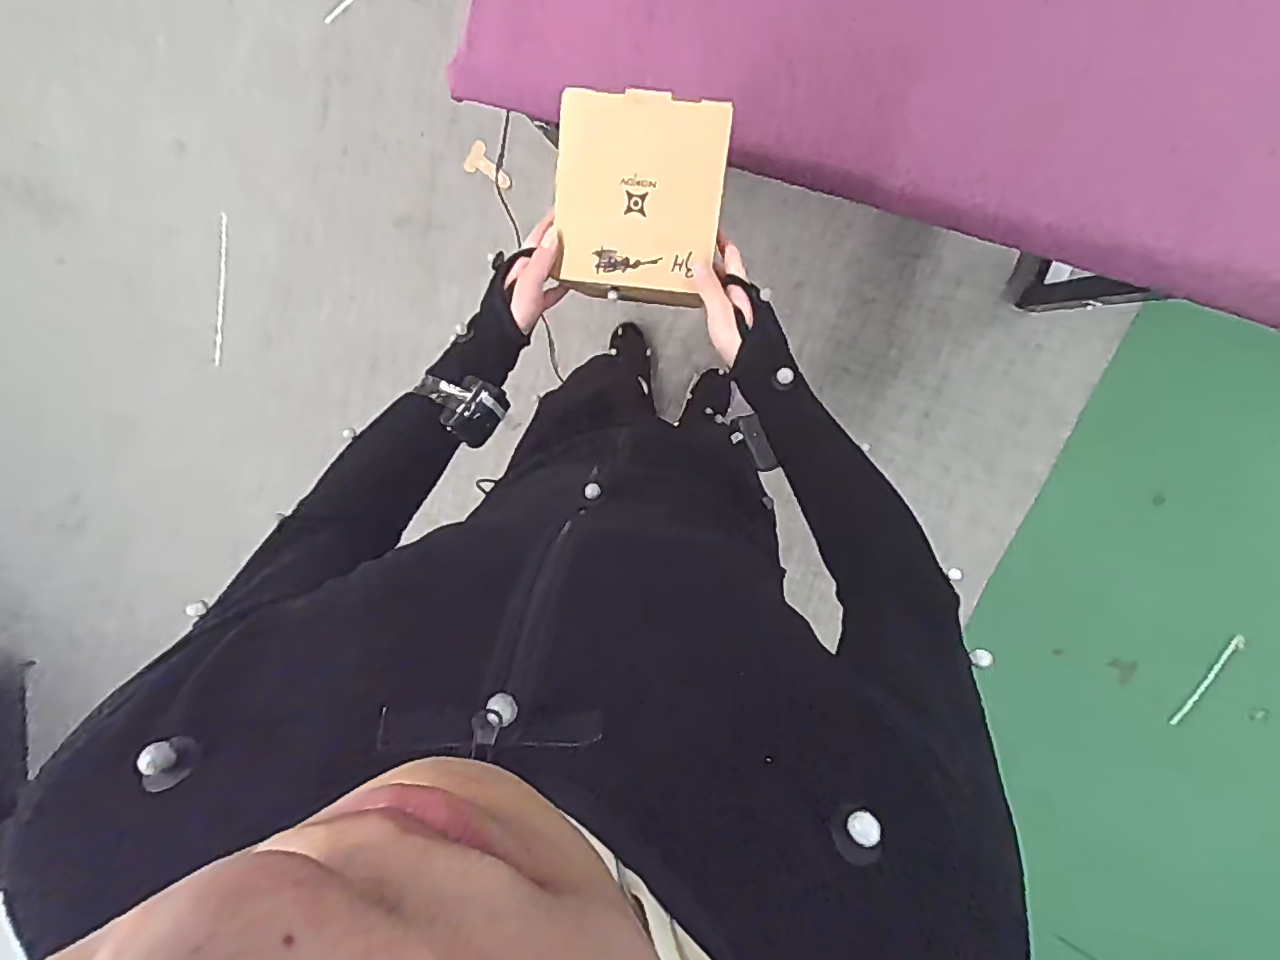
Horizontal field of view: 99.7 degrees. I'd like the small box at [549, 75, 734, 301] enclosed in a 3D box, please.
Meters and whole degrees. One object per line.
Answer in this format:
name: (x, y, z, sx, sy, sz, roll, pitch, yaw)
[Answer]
small box: (0.002, -0.307, 0.606, 0.168, 0.176, 0.179, 7, 104, 2)
